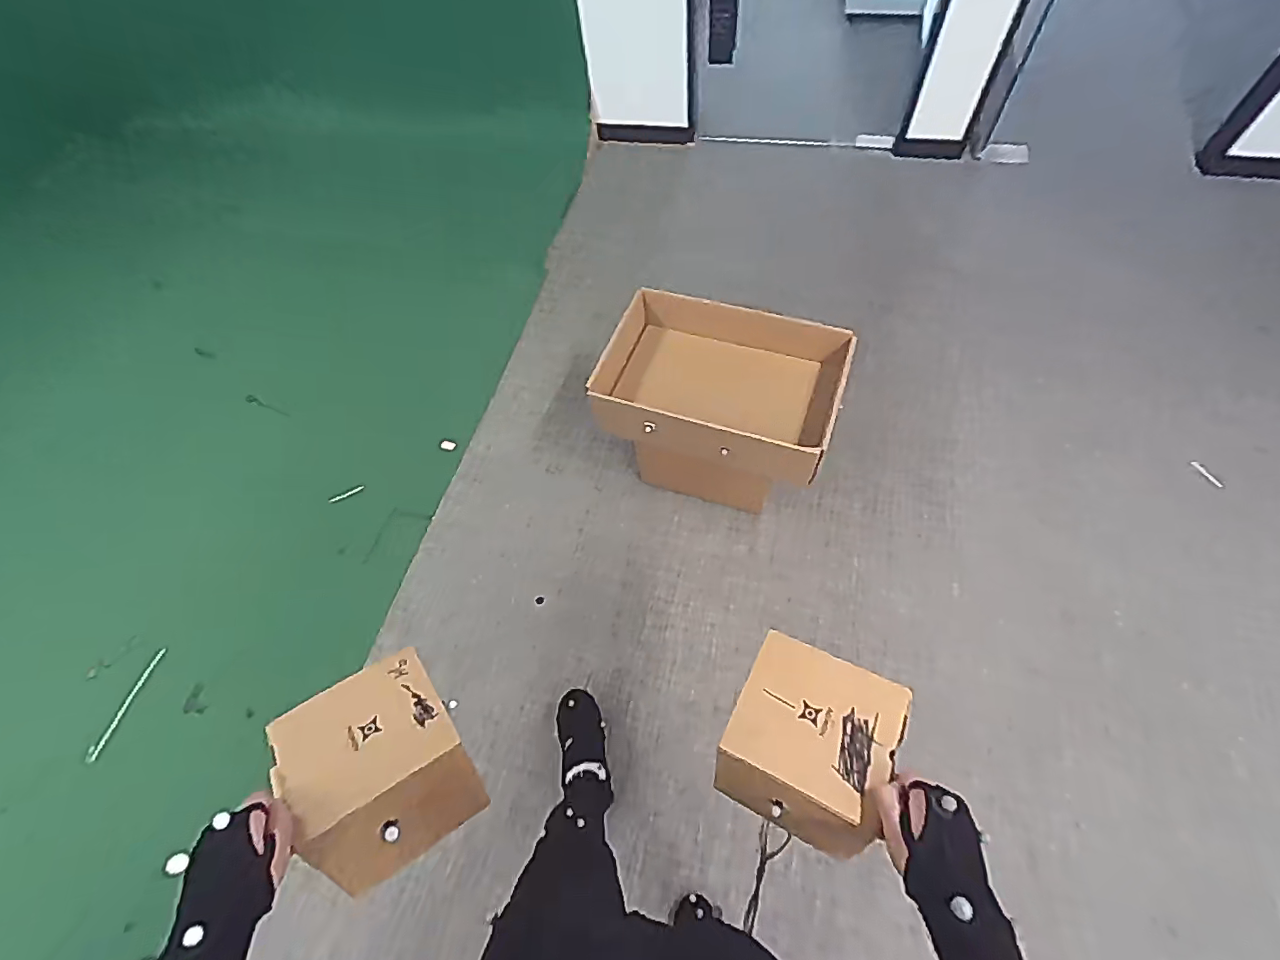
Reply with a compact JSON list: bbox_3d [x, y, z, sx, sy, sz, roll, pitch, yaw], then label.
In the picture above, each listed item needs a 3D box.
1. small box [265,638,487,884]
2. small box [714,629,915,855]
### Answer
[{"bbox_3d":[-0.311,0.337,0.656,0.179,0.176,0.168,-27,45,-26],"label":"small box"},{"bbox_3d":[0.203,0.321,0.659,0.179,0.176,0.168,21,51,23],"label":"small box"}]
